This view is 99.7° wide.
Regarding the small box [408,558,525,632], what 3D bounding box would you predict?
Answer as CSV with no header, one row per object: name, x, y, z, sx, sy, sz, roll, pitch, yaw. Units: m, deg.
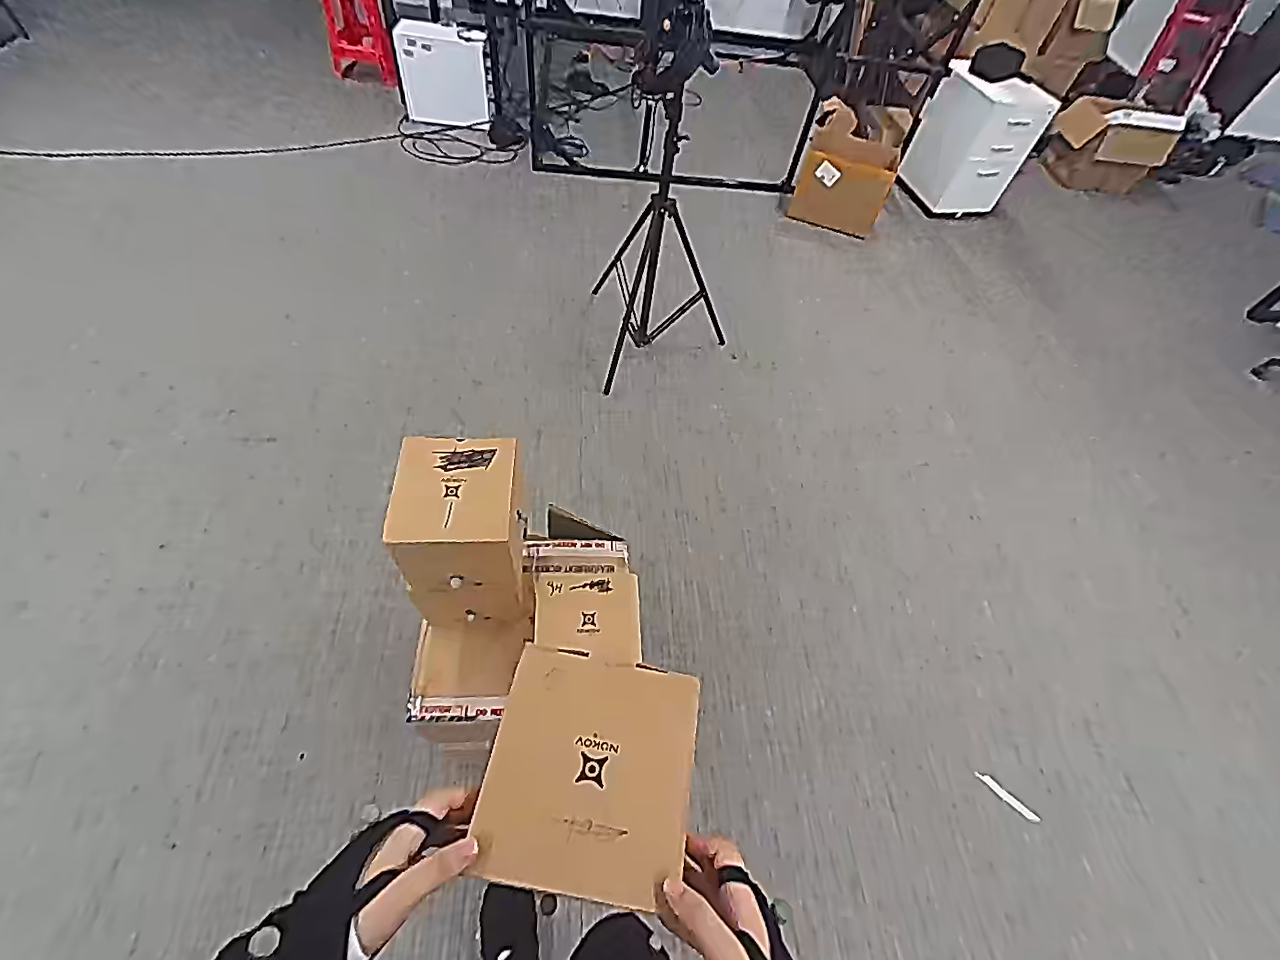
small box,-0.298,0.154,0.961,0.168,0.176,0.179,-3,57,-8

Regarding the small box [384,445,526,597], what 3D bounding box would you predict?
small box,-0.267,0.066,0.825,0.168,0.176,0.179,0,57,-6

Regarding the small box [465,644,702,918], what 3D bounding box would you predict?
small box,-0.045,0.278,0.503,0.168,0.176,0.179,11,54,0

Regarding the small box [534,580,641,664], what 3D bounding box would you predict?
small box,-0.090,0.279,0.902,0.168,0.176,0.179,2,56,-8
